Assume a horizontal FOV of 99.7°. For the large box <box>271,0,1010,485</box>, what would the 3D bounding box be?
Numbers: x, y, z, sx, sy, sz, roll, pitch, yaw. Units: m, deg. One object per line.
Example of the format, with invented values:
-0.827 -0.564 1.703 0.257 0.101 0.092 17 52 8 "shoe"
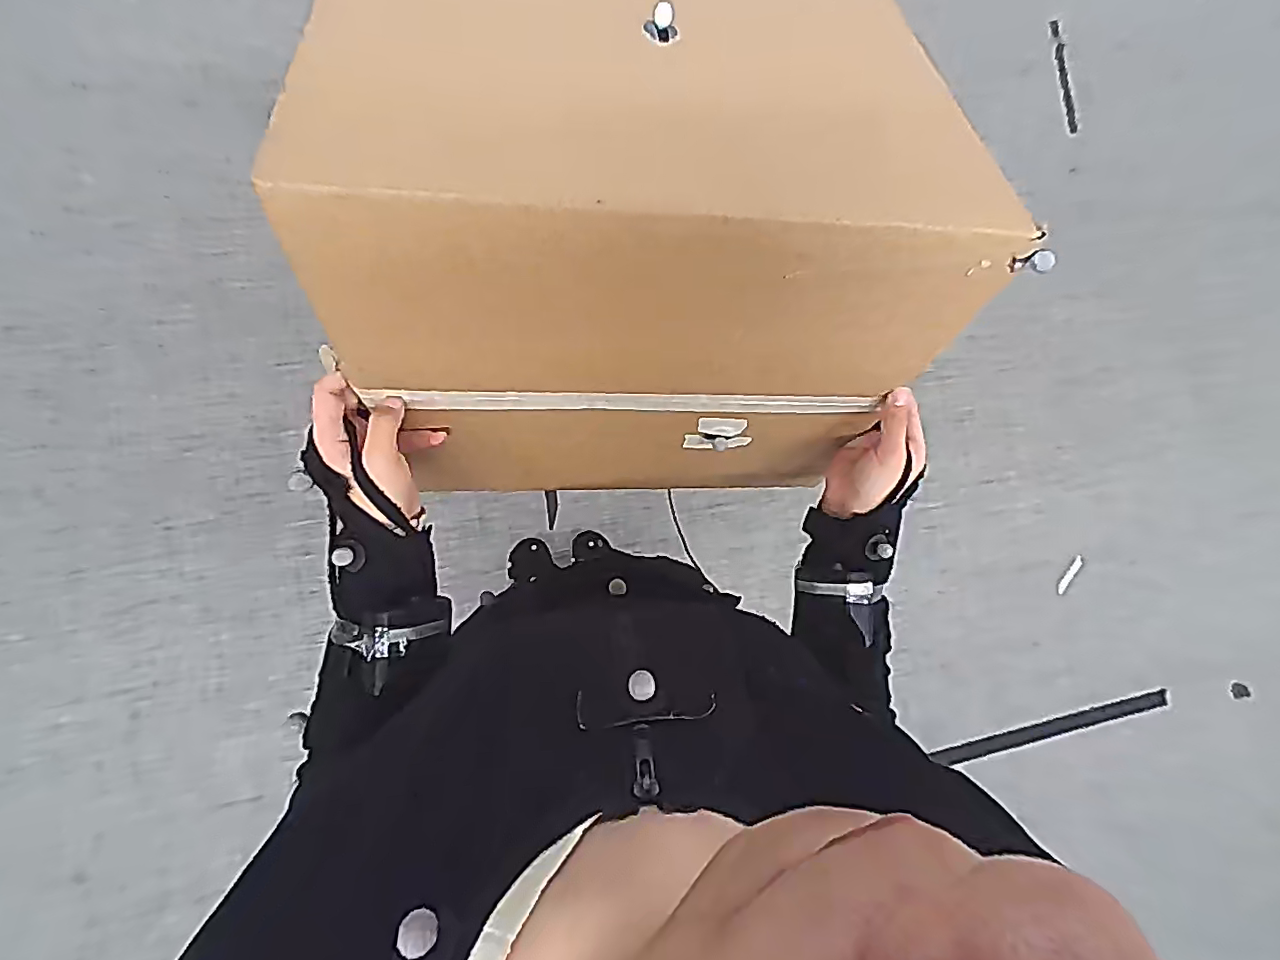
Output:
-0.015 -0.205 0.480 0.408 0.320 0.320 -2 64 -9 "large box"
